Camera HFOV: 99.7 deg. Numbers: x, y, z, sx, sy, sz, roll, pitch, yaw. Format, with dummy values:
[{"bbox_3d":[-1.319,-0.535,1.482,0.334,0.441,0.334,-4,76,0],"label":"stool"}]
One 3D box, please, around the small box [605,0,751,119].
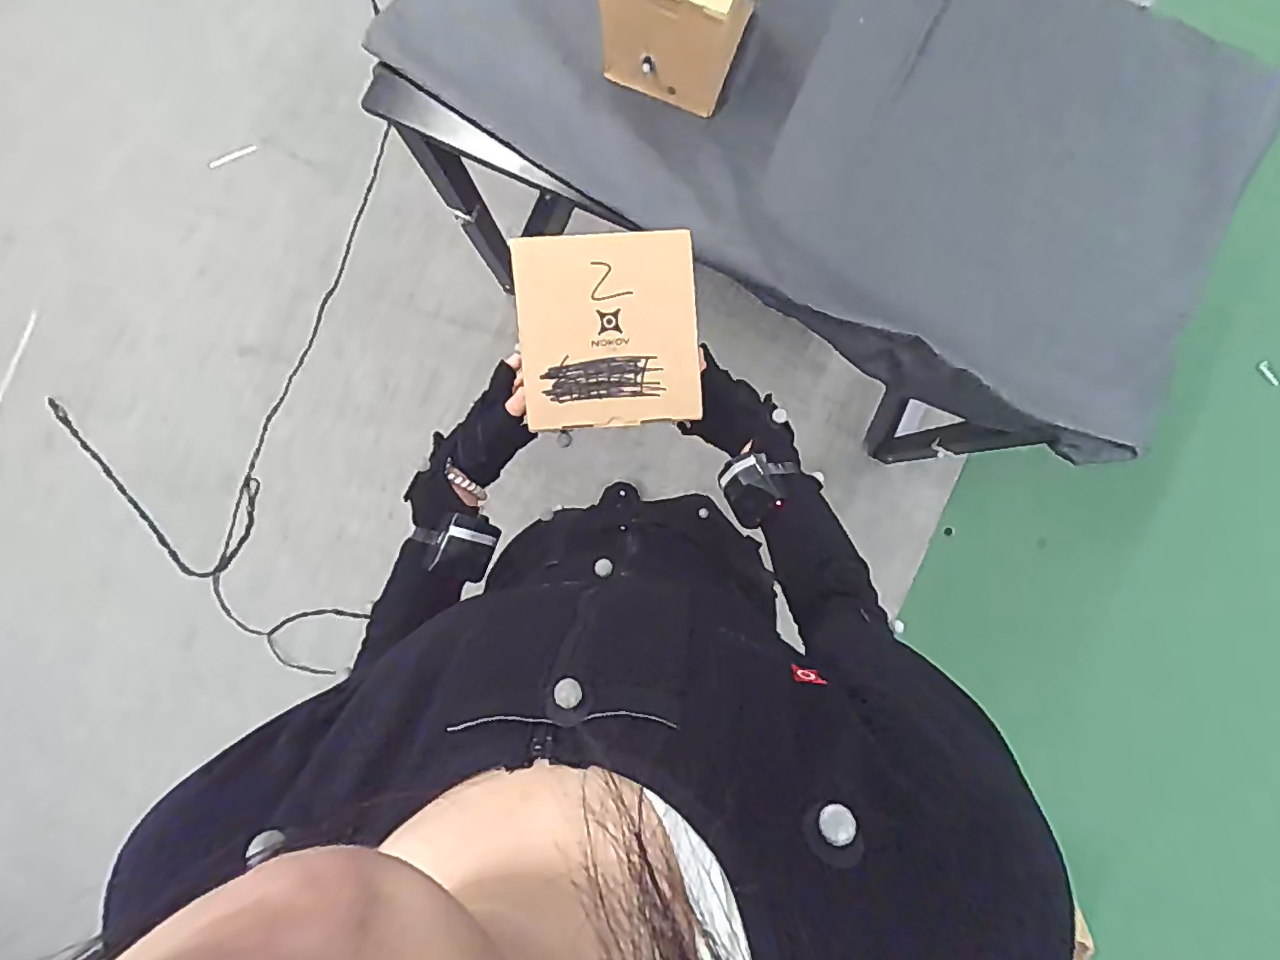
[{"bbox_3d":[0.055,-0.636,0.715,0.168,0.176,0.179,22,89,0],"label":"small box"}]
